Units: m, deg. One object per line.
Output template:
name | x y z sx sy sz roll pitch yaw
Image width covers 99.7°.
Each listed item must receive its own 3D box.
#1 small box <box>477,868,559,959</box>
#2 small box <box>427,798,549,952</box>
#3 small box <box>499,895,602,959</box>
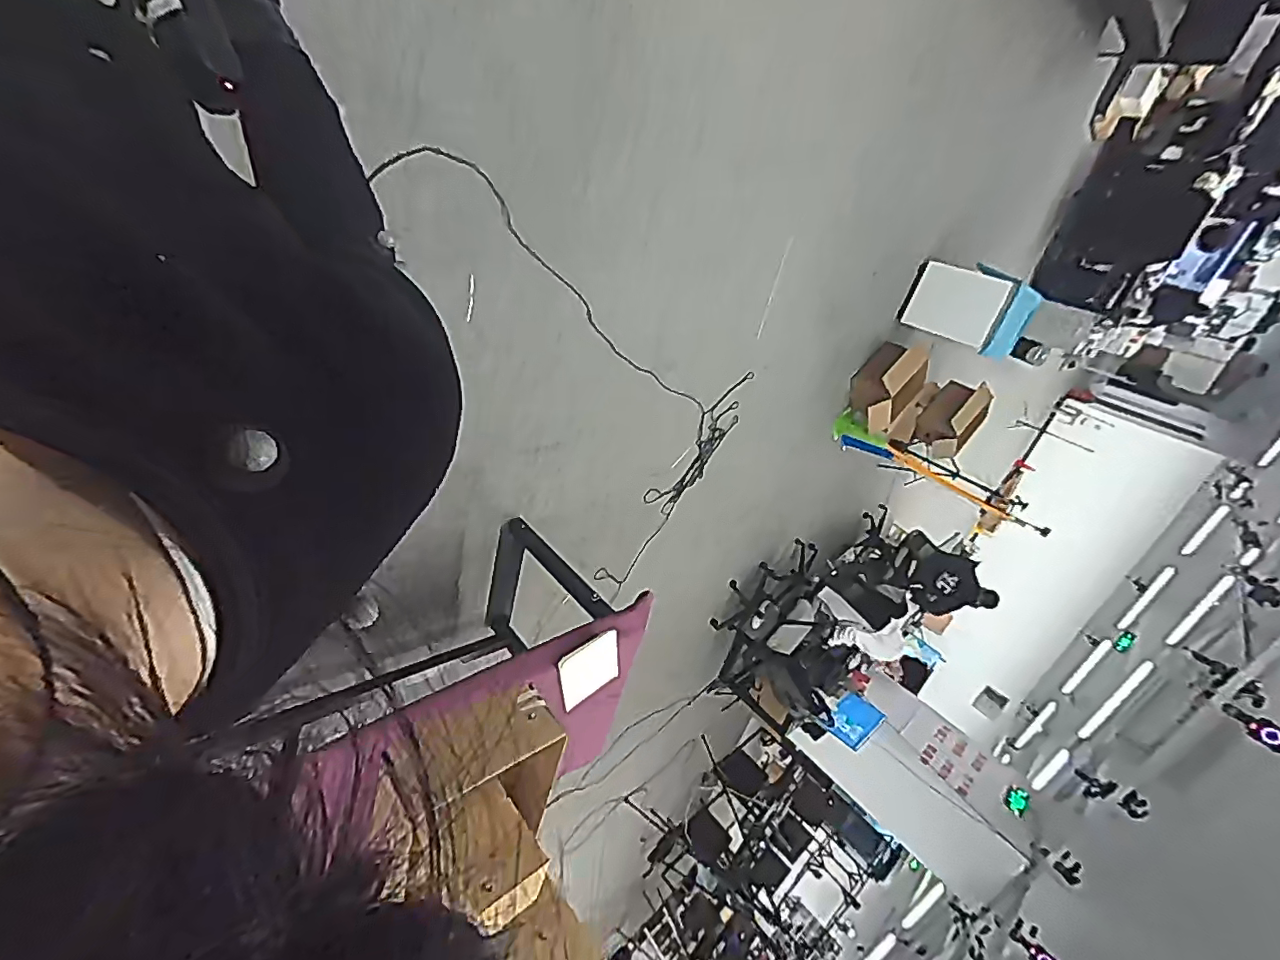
small box | -0.331 1.062 1.359 0.179 0.176 0.168 -14 128 -43
small box | -0.328 0.831 1.158 0.179 0.176 0.168 -11 128 -45
small box | -0.221 1.142 1.267 0.179 0.176 0.168 -10 126 -44
